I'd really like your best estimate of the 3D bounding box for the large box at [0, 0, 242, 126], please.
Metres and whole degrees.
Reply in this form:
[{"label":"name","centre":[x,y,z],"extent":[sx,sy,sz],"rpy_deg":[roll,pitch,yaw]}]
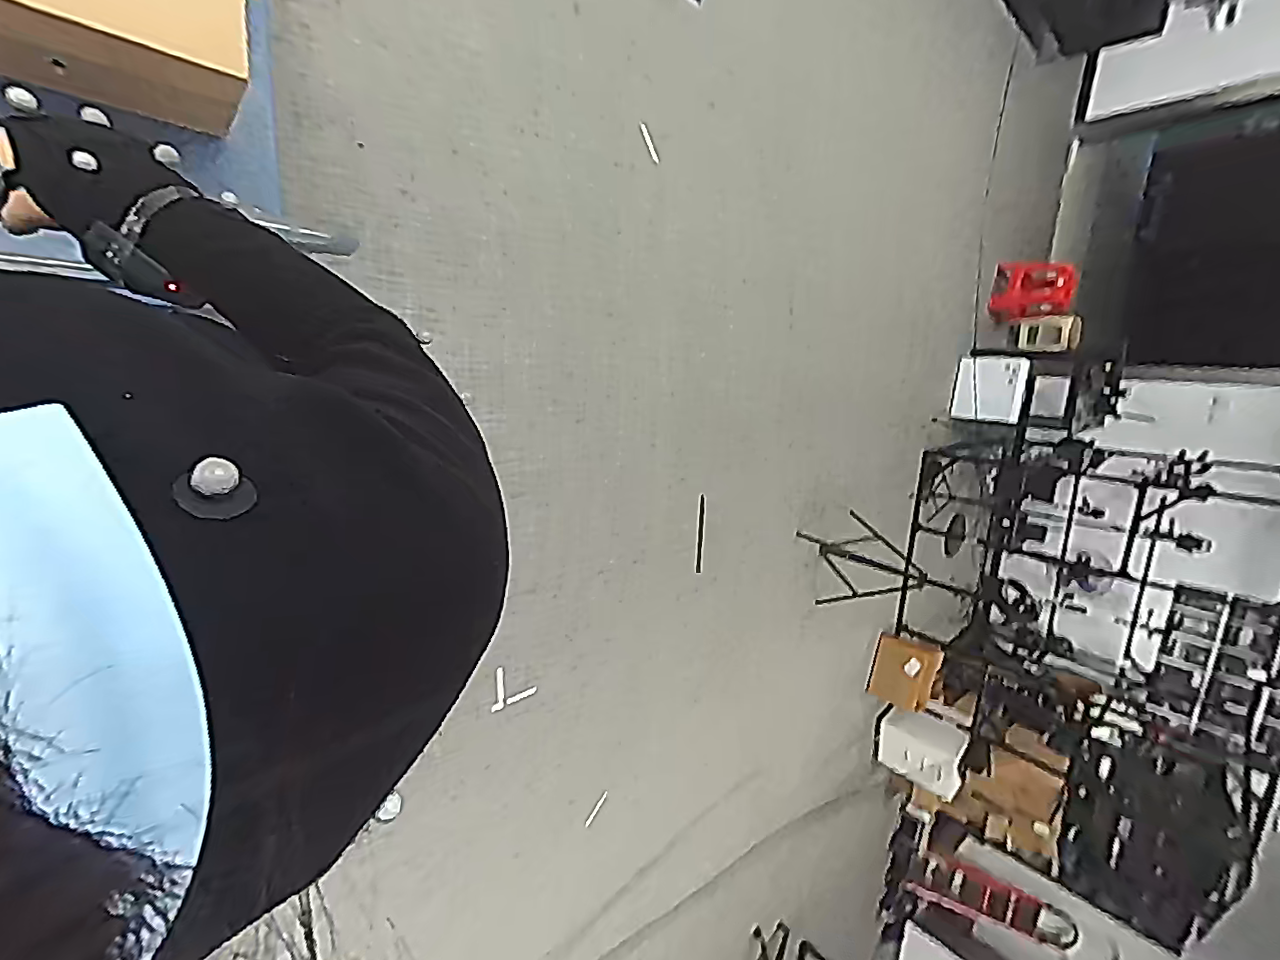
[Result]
[{"label":"large box","centre":[-0.811,-0.746,0.729],"extent":[0.408,0.320,0.320],"rpy_deg":[-6,104,-41]}]
